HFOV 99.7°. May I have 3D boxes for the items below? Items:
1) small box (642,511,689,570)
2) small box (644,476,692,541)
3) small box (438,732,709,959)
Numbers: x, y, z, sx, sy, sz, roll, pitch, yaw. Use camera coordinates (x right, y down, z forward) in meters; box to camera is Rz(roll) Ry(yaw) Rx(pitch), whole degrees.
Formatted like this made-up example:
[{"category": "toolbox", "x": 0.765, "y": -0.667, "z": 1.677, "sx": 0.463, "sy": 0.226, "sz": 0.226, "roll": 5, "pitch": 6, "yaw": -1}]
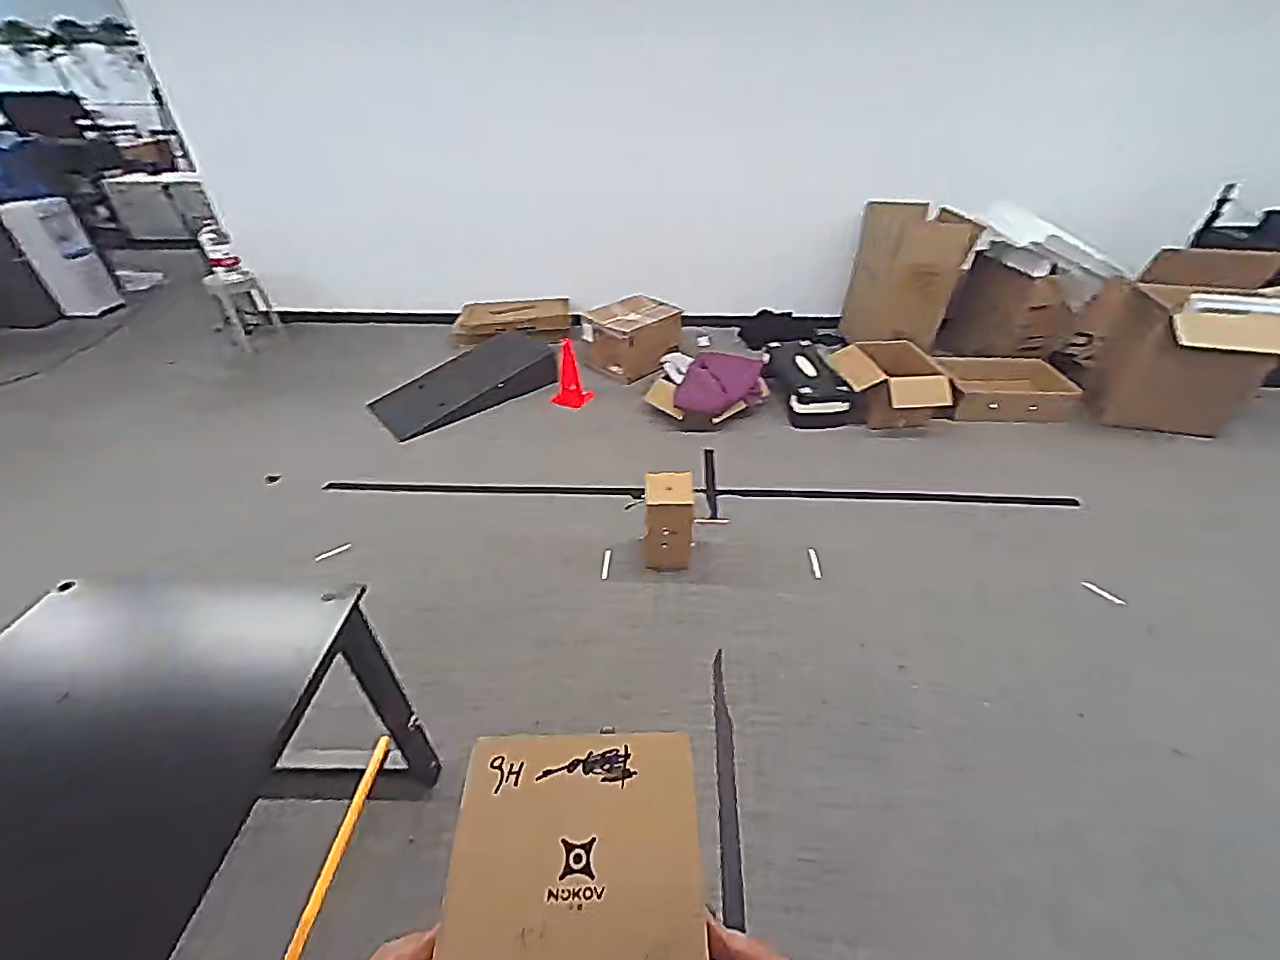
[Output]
[{"category": "small box", "x": 0.098, "y": 0.230, "z": 2.074, "sx": 0.179, "sy": 0.176, "sz": 0.168, "roll": 0, "pitch": 38, "yaw": 1}, {"category": "small box", "x": 0.099, "y": 0.103, "z": 1.972, "sx": 0.168, "sy": 0.176, "sz": 0.179, "roll": -3, "pitch": 39, "yaw": 0}, {"category": "small box", "x": -0.037, "y": 0.311, "z": 0.409, "sx": 0.168, "sy": 0.176, "sz": 0.179, "roll": -2, "pitch": 46, "yaw": 0}]
